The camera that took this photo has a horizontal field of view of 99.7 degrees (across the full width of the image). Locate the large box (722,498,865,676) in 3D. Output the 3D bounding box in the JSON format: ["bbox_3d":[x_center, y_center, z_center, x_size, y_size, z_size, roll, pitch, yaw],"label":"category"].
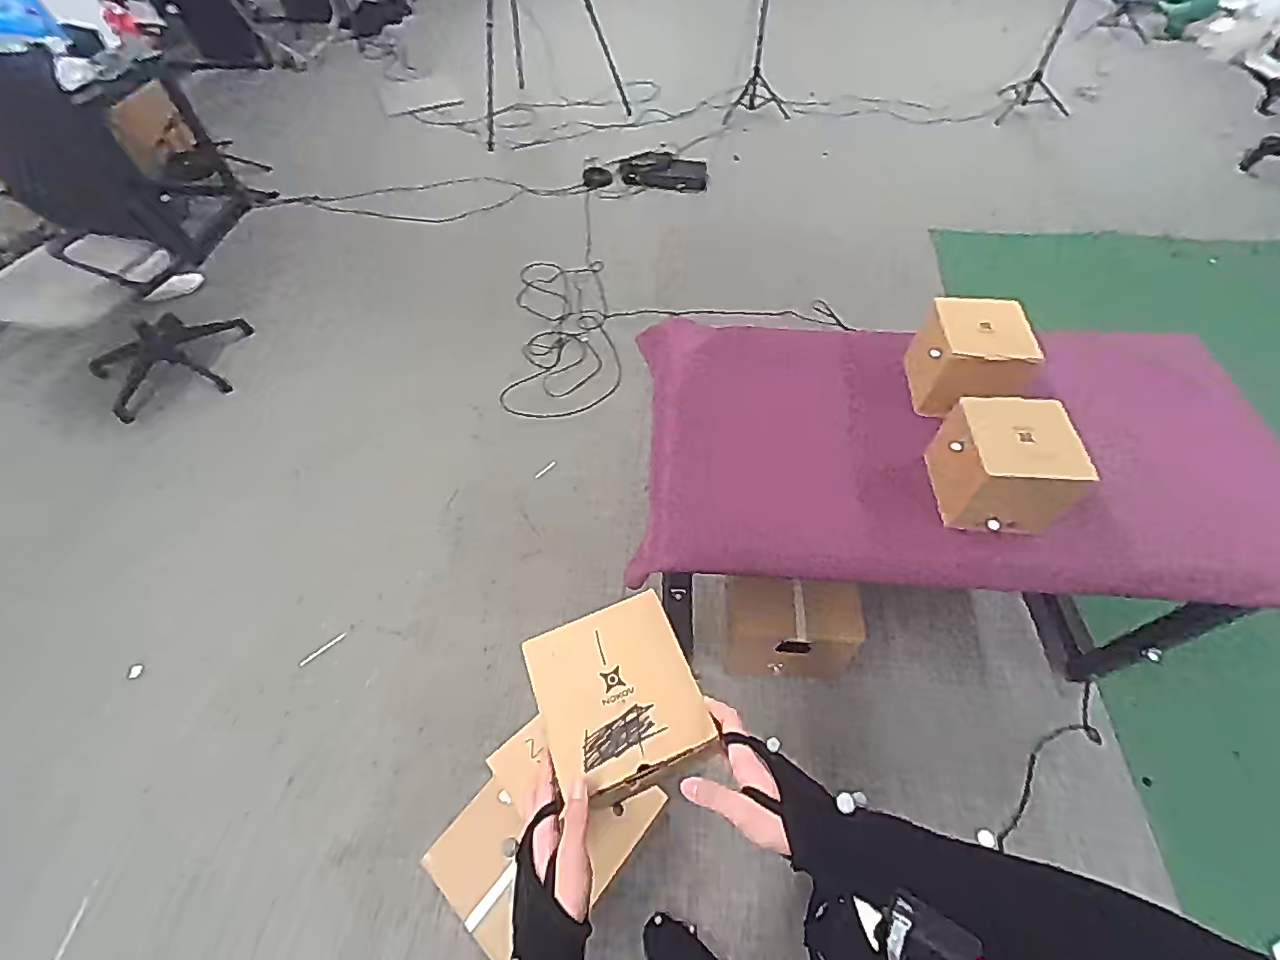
[{"bbox_3d":[0.400,0.305,1.521,0.320,0.320,0.408,3,54,3],"label":"large box"}]

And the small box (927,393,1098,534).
[{"bbox_3d":[0.623,-0.028,0.935,0.168,0.176,0.179,3,54,6],"label":"small box"}]

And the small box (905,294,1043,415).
[{"bbox_3d":[0.659,-0.250,1.094,0.168,0.176,0.179,4,56,5],"label":"small box"}]

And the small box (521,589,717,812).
[{"bbox_3d":[-0.019,0.261,0.631,0.168,0.176,0.179,-21,57,-8],"label":"small box"}]
